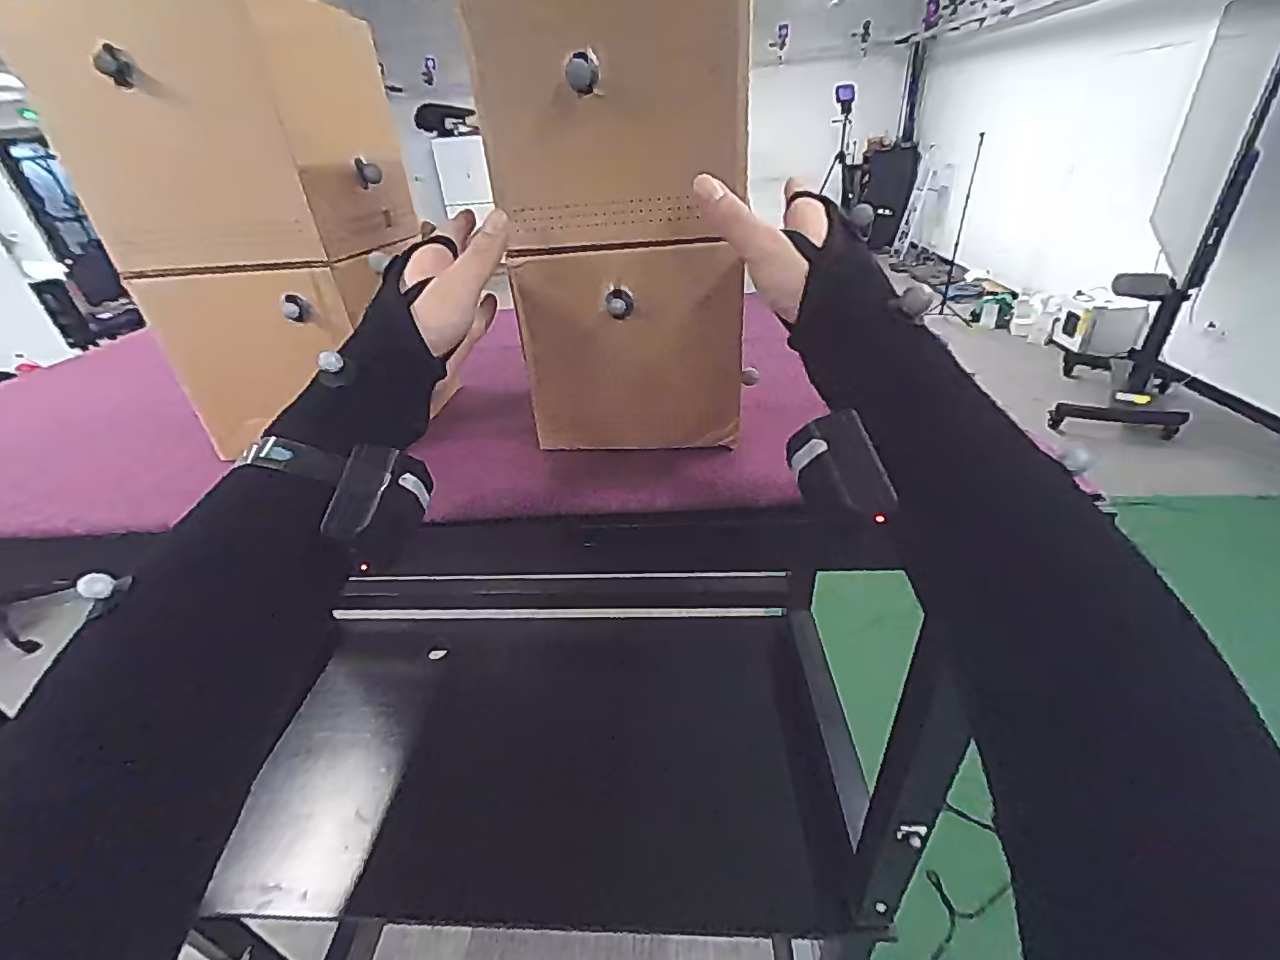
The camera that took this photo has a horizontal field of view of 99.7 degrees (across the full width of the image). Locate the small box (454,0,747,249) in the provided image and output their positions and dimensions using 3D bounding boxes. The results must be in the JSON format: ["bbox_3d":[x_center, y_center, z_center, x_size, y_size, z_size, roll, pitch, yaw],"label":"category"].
[{"bbox_3d":[-0.013,-0.274,0.402,0.179,0.176,0.168,-1,33,8],"label":"small box"}]

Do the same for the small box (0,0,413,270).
[{"bbox_3d":[-0.317,-0.271,0.437,0.179,0.176,0.168,-1,32,5],"label":"small box"}]

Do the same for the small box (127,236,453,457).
[{"bbox_3d":[-0.307,-0.130,0.522,0.179,0.176,0.168,-2,32,4],"label":"small box"}]

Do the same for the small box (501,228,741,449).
[{"bbox_3d":[0.000,-0.136,0.488,0.179,0.176,0.168,0,33,8],"label":"small box"}]
